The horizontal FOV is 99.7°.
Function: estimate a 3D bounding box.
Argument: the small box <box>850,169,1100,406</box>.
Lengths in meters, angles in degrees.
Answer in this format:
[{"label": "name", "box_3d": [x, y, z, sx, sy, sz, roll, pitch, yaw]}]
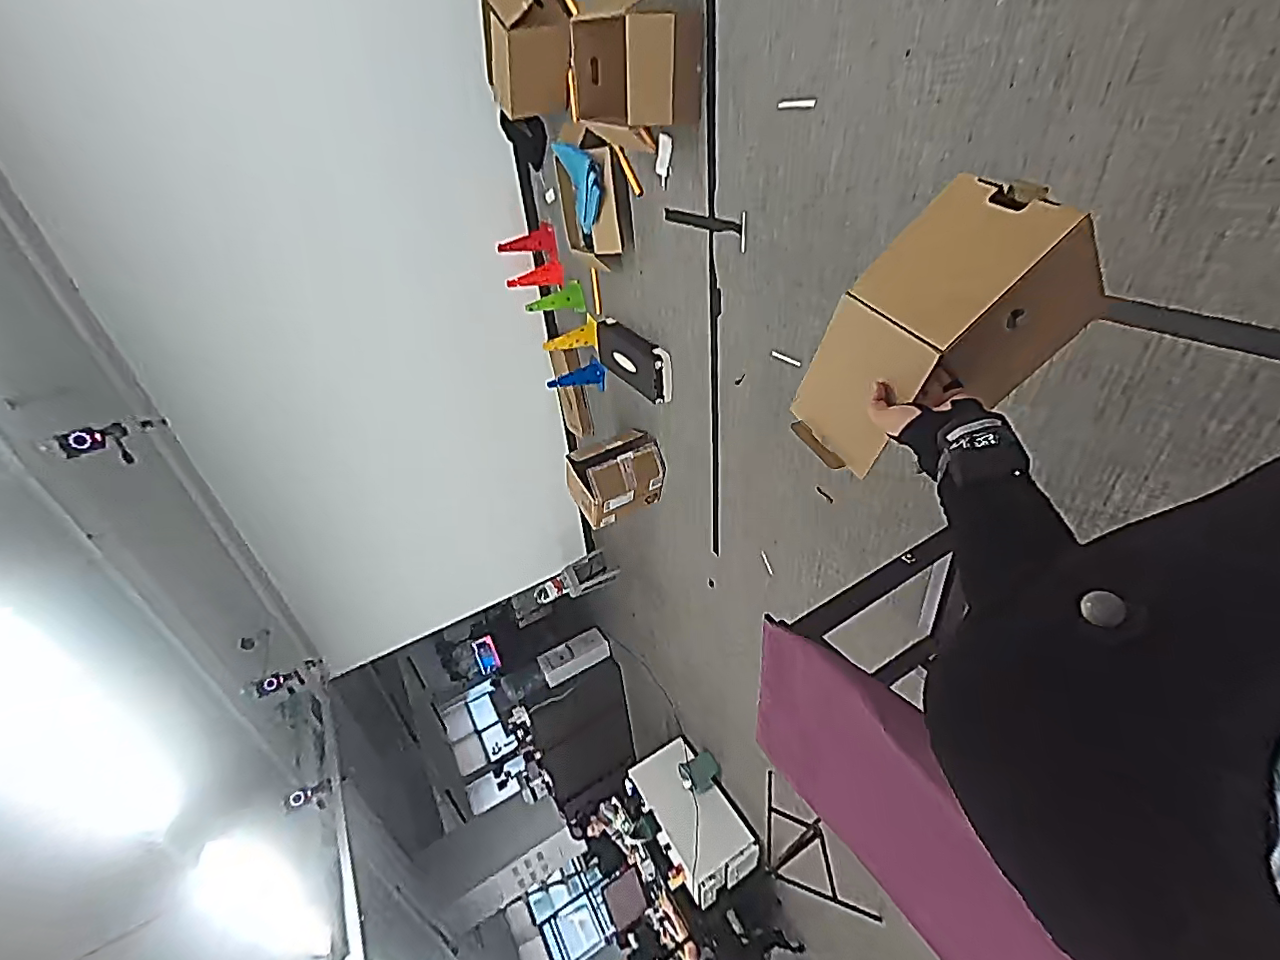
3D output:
[{"label": "small box", "box_3d": [0.396, -0.218, 0.642, 0.179, 0.176, 0.168, -47, 44, 18]}]
